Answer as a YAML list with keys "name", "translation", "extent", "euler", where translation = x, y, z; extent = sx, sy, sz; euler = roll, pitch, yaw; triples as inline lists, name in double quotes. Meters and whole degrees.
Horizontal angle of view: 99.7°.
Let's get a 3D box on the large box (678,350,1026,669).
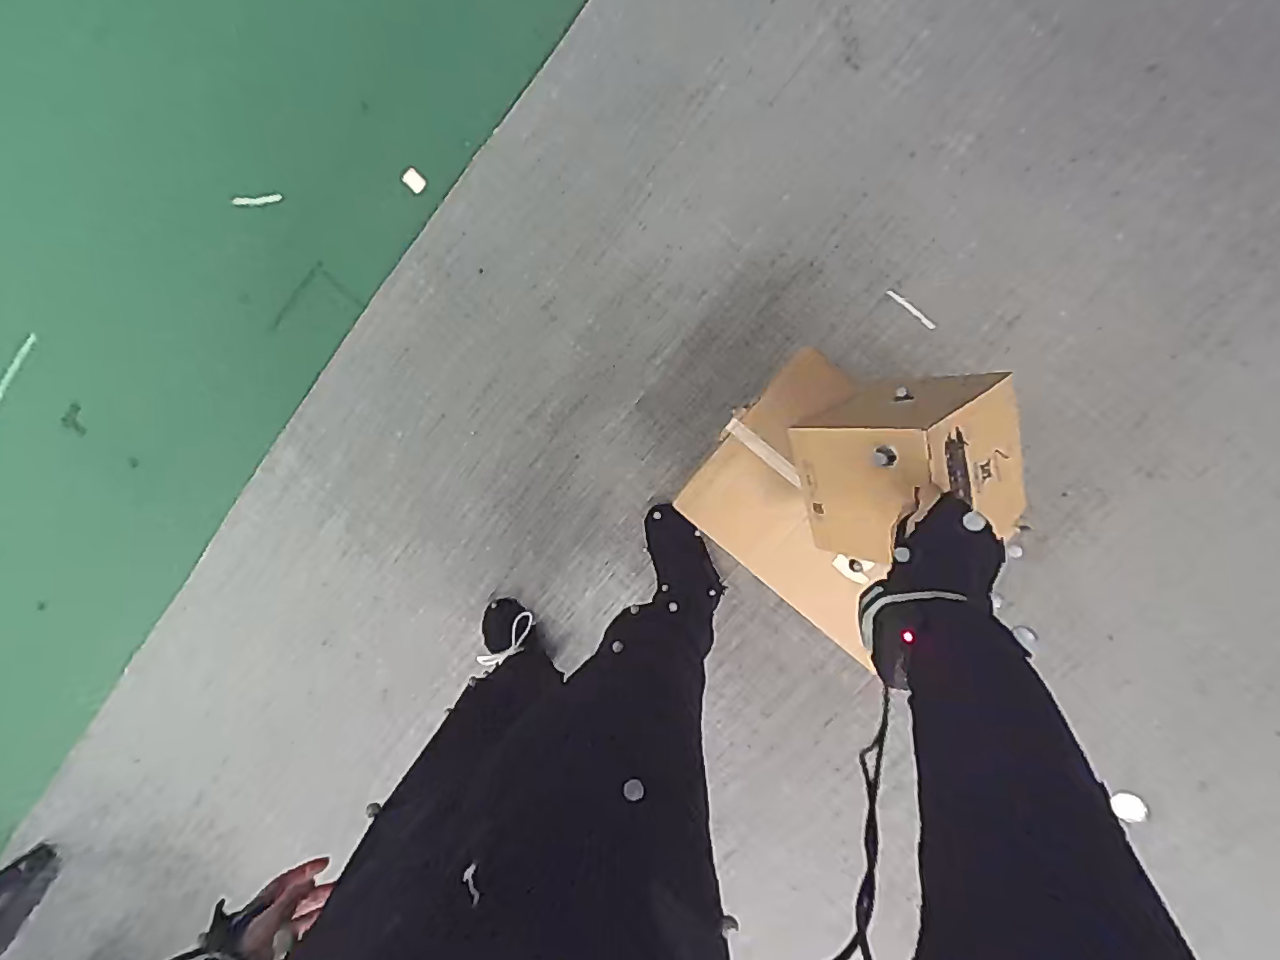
- name: "large box"
  translation: [0.318, 0.031, 0.940]
  extent: [0.408, 0.320, 0.320]
  euler: [40, 101, 1]
